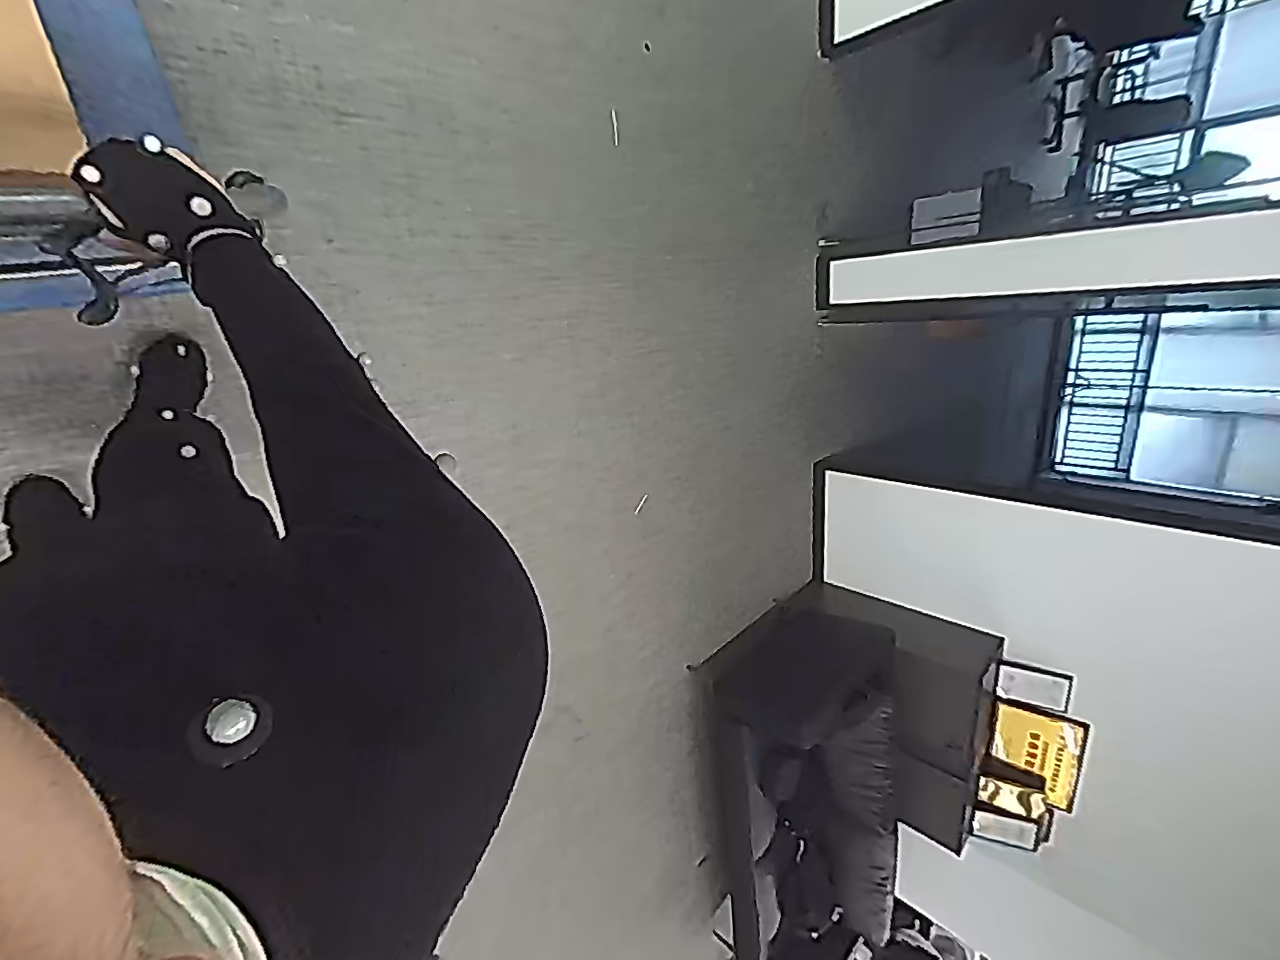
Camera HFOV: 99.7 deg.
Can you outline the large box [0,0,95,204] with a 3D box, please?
[{"bbox_3d":[-0.988,-0.597,0.687,0.320,0.320,0.408,-23,115,-39],"label":"large box"}]
